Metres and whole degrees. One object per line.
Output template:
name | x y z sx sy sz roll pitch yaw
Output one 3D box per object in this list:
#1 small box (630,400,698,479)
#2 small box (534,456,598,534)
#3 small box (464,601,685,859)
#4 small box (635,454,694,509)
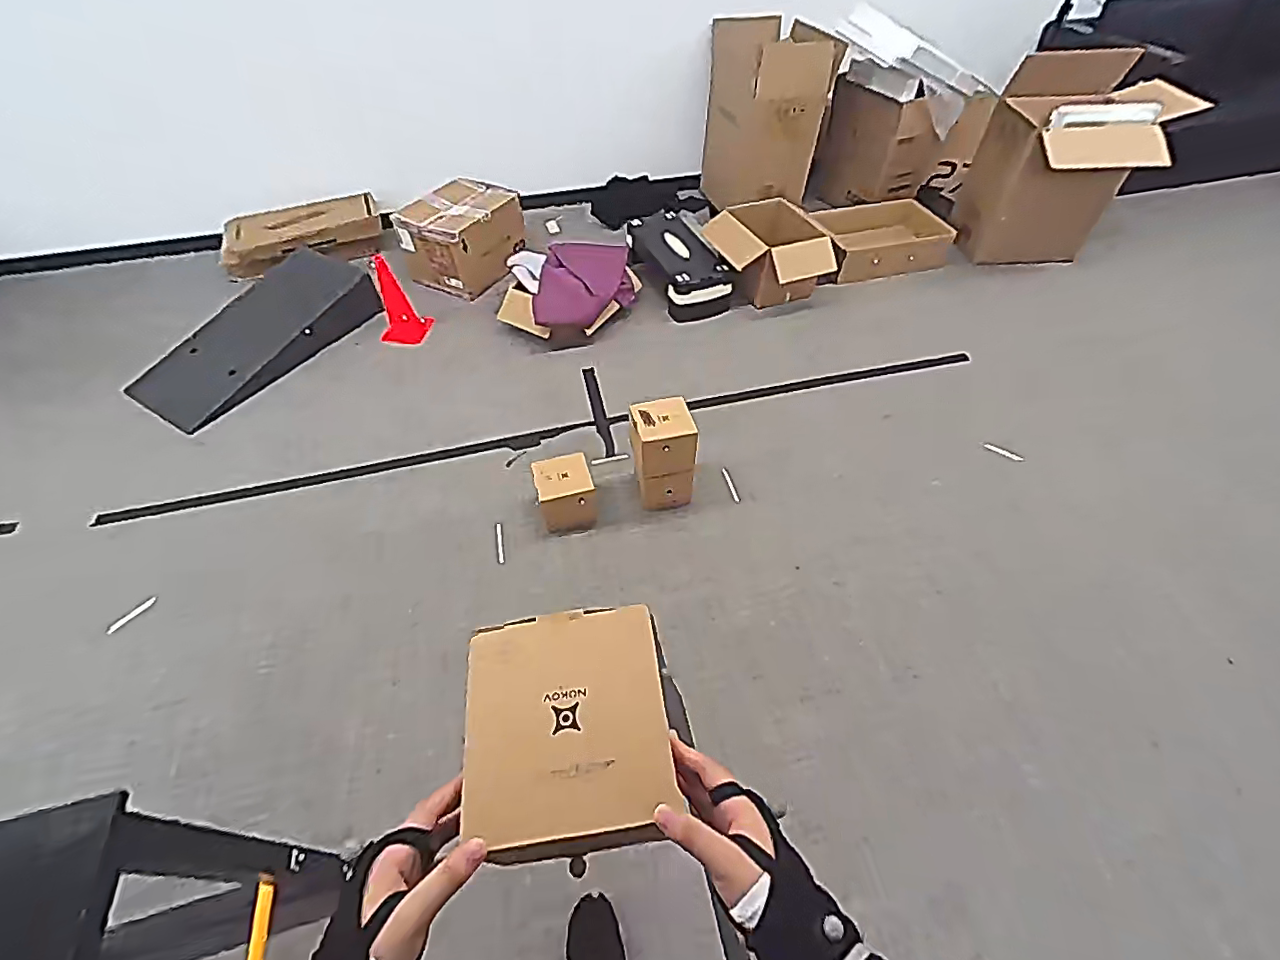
small box | 0.073 -0.122 1.690 0.179 0.176 0.168 -11 51 -9
small box | -0.238 0.051 1.765 0.179 0.176 0.168 -14 51 -10
small box | -0.056 0.237 0.509 0.168 0.176 0.179 -8 54 -3
small box | 0.080 -0.017 1.818 0.168 0.176 0.179 -10 52 -7
